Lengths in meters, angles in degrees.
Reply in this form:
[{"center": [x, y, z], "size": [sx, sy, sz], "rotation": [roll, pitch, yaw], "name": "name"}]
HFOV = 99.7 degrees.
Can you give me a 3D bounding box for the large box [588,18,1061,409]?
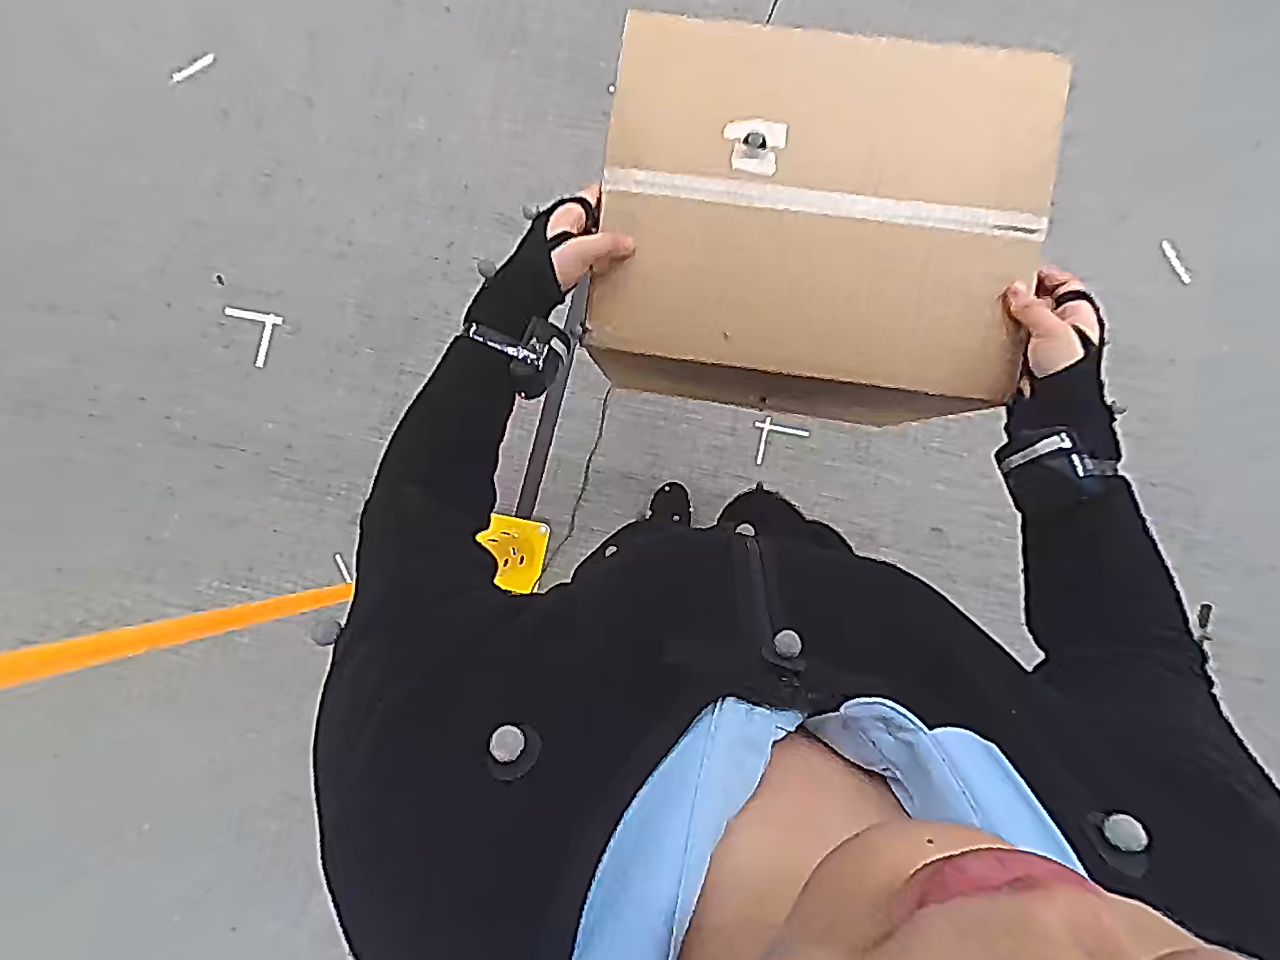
[{"center": [0.177, -0.270, 0.655], "size": [0.408, 0.320, 0.320], "rotation": [8, 92, 4], "name": "large box"}]
